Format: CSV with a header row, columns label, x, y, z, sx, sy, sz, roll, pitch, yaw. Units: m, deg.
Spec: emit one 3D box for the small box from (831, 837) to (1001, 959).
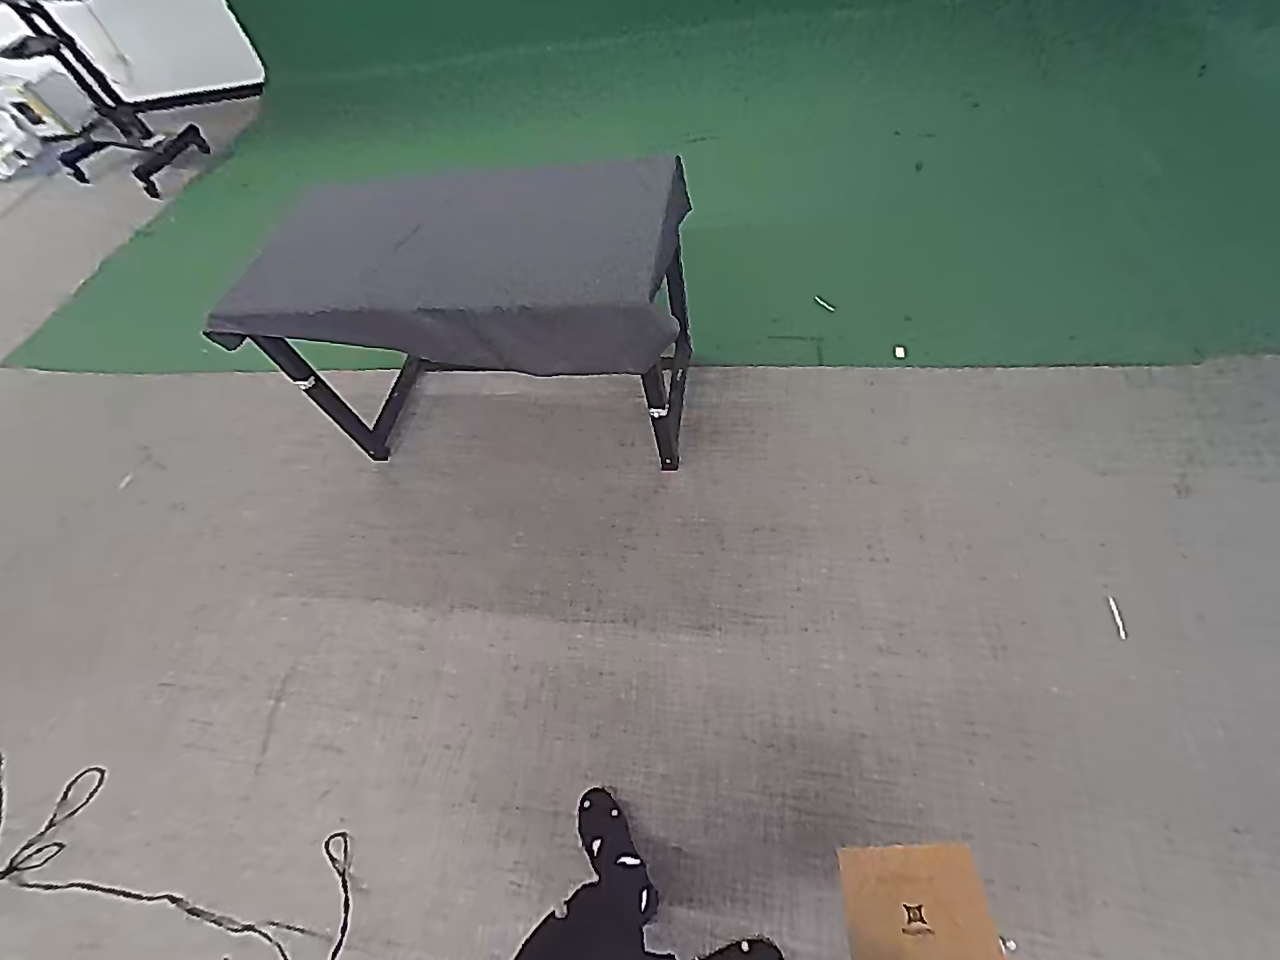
label,x,y,z,sx,sy,sz,roll,pitch,yaw
small box,0.347,0.580,0.661,0.168,0.176,0.179,-16,20,18
